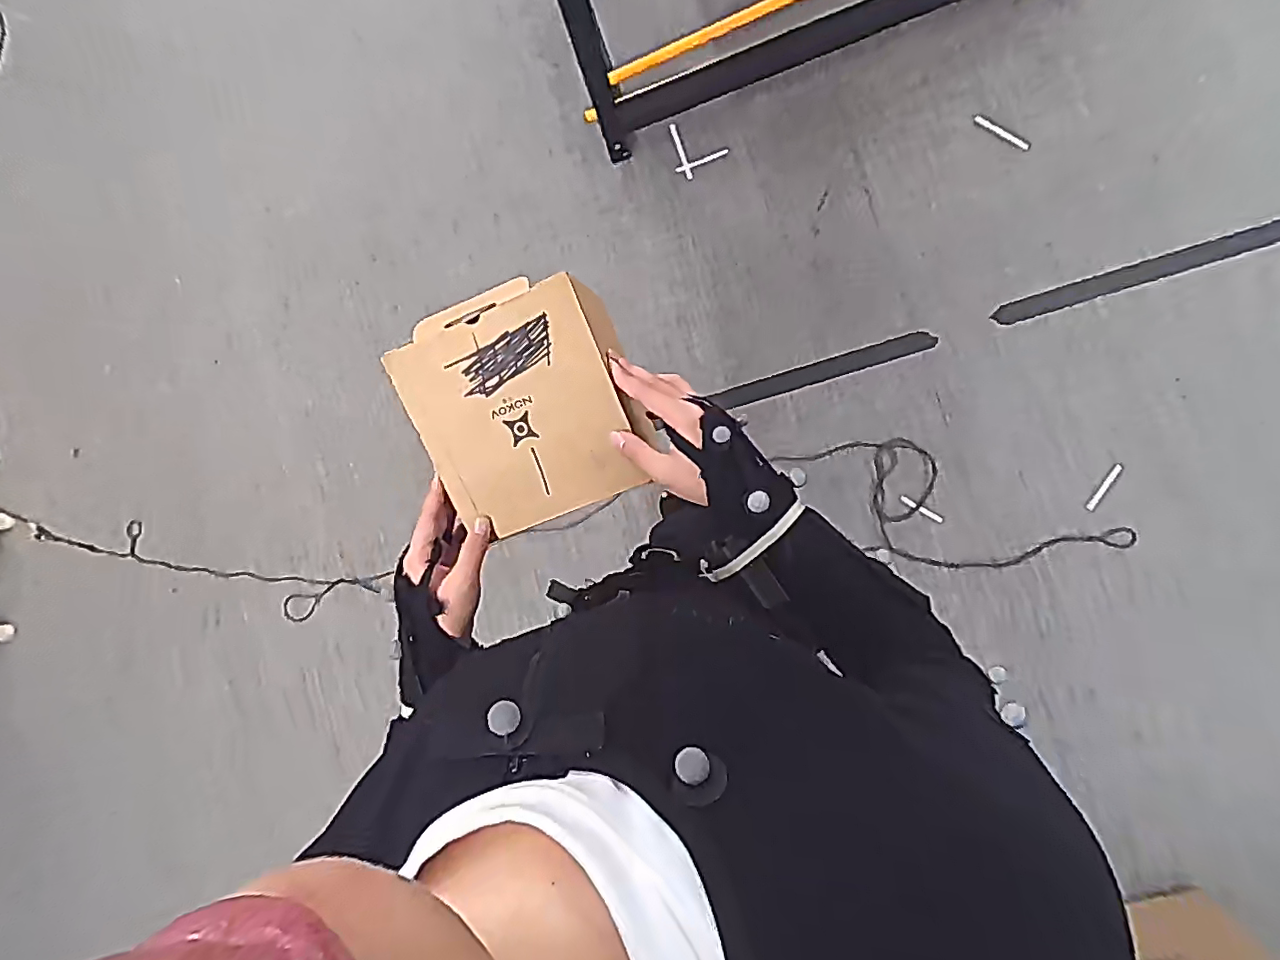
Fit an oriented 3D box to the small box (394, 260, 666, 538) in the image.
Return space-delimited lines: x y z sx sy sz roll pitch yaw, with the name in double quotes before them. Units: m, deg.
"small box" -0.081 -0.072 0.498 0.168 0.176 0.179 -20 100 8
